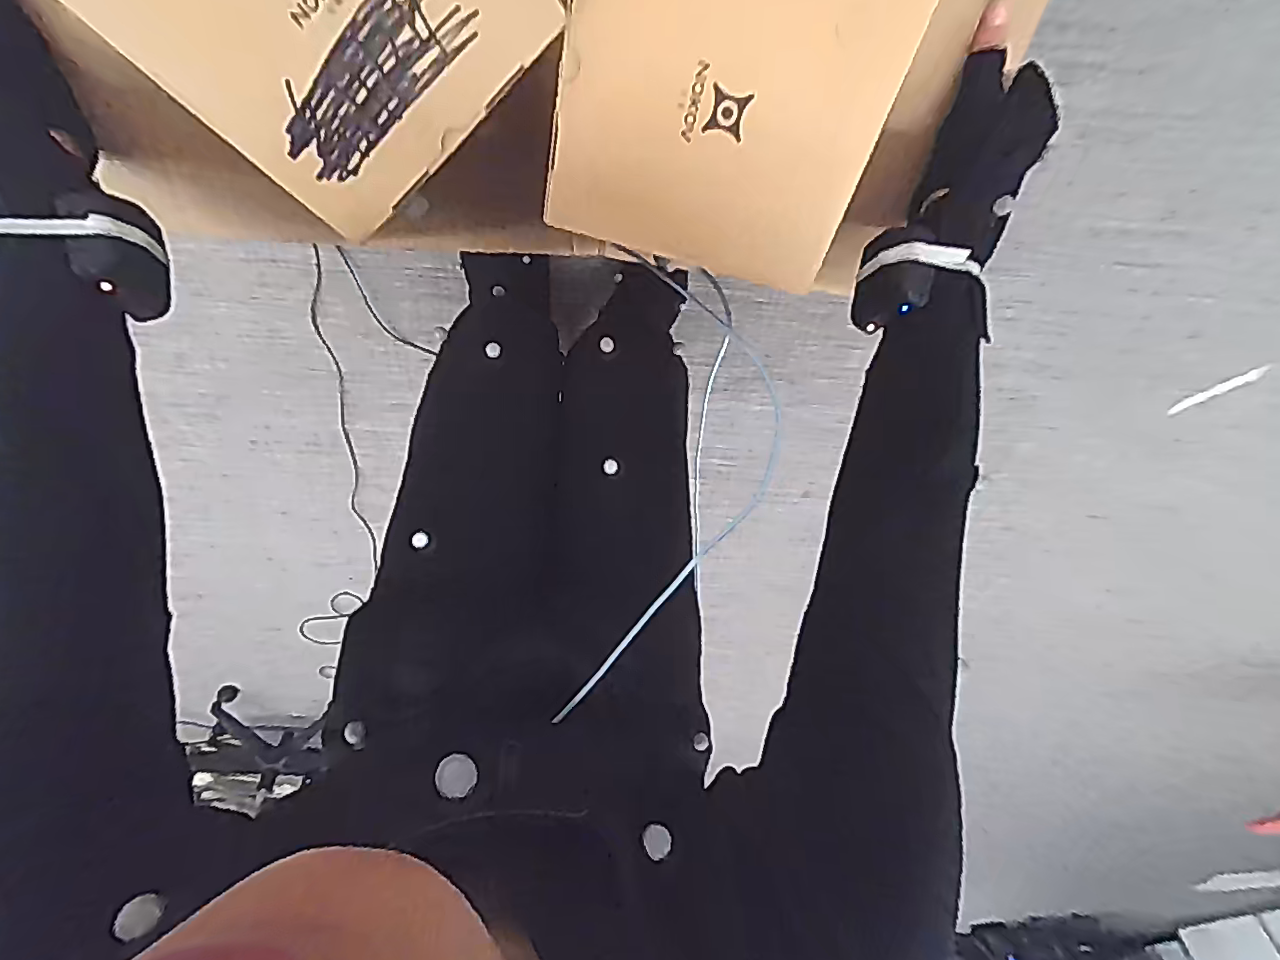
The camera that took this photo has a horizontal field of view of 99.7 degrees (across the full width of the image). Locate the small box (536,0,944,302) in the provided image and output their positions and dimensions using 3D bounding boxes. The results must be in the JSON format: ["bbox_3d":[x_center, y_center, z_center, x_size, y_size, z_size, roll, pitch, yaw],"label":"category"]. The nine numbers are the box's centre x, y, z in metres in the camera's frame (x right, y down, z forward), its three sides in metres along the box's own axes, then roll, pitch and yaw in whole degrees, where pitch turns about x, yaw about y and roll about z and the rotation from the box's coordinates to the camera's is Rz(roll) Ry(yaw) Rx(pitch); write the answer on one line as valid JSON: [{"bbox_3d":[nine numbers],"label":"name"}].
[{"bbox_3d":[0.047,-0.244,0.346,0.179,0.176,0.168,15,130,-4],"label":"small box"}]
